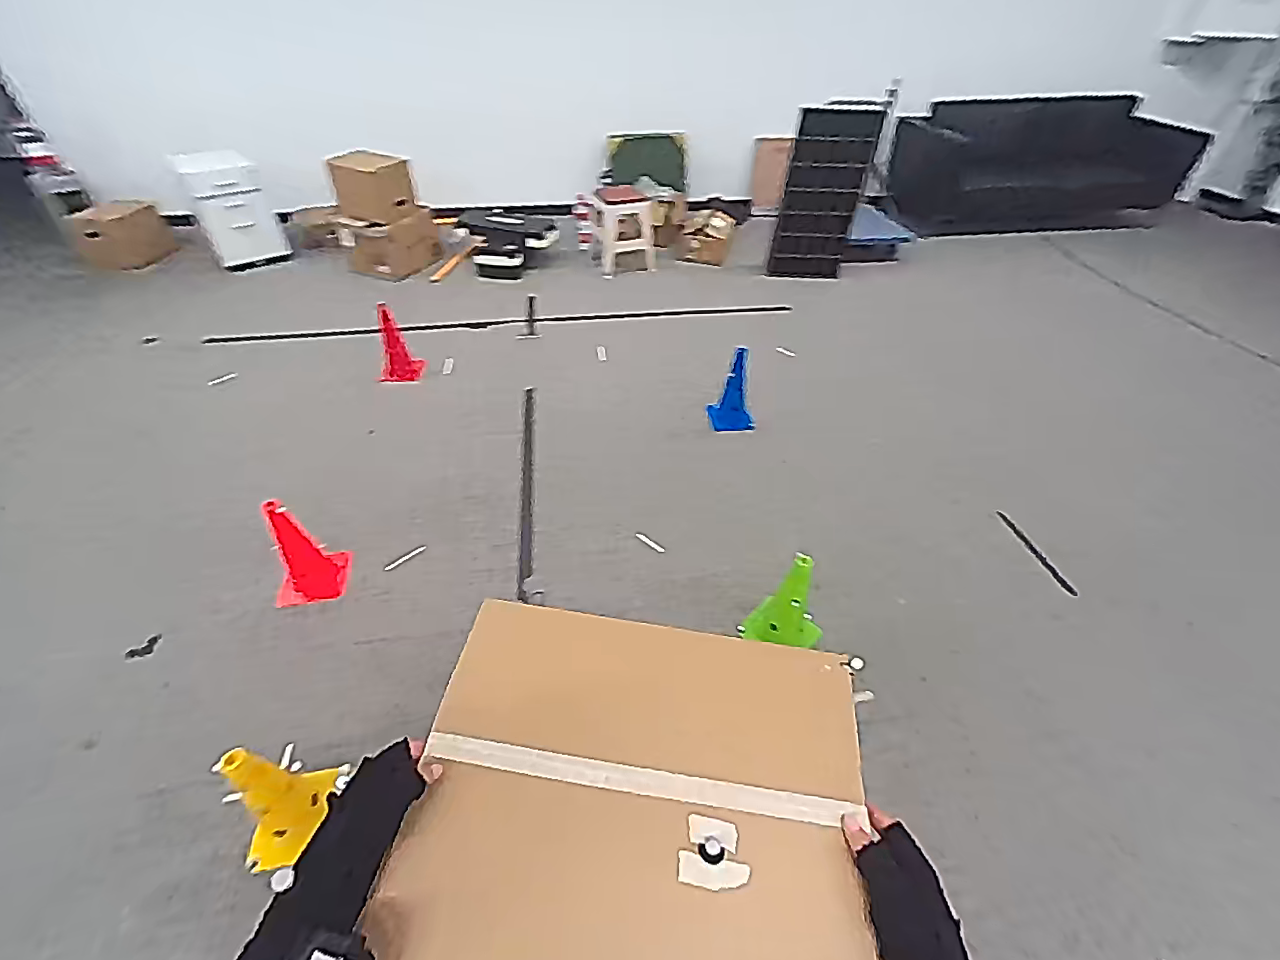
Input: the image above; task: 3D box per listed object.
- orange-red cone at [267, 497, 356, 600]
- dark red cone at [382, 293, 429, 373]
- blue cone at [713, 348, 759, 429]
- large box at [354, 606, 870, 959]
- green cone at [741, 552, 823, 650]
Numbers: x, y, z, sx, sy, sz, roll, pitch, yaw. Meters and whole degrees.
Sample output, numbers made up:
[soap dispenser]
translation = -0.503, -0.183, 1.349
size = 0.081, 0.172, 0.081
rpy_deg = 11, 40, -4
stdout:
[orange-red cone]
translation = -1.070, 0.190, 1.702
size = 0.198, 0.360, 0.199
rpy_deg = -7, 45, -8
[dark red cone]
translation = -1.178, -0.715, 2.629
size = 0.201, 0.394, 0.202
rpy_deg = 0, 43, -3
[blue cone]
translation = 0.452, -0.417, 2.420
size = 0.192, 0.380, 0.193
rpy_deg = -2, 43, -5
[large box]
translation = -0.014, 0.377, 0.607
size = 0.408, 0.320, 0.320
rpy_deg = 8, 47, 3
[green cone]
translation = 0.455, 0.344, 1.582
size = 0.200, 0.368, 0.202
rpy_deg = 35, 51, 29
